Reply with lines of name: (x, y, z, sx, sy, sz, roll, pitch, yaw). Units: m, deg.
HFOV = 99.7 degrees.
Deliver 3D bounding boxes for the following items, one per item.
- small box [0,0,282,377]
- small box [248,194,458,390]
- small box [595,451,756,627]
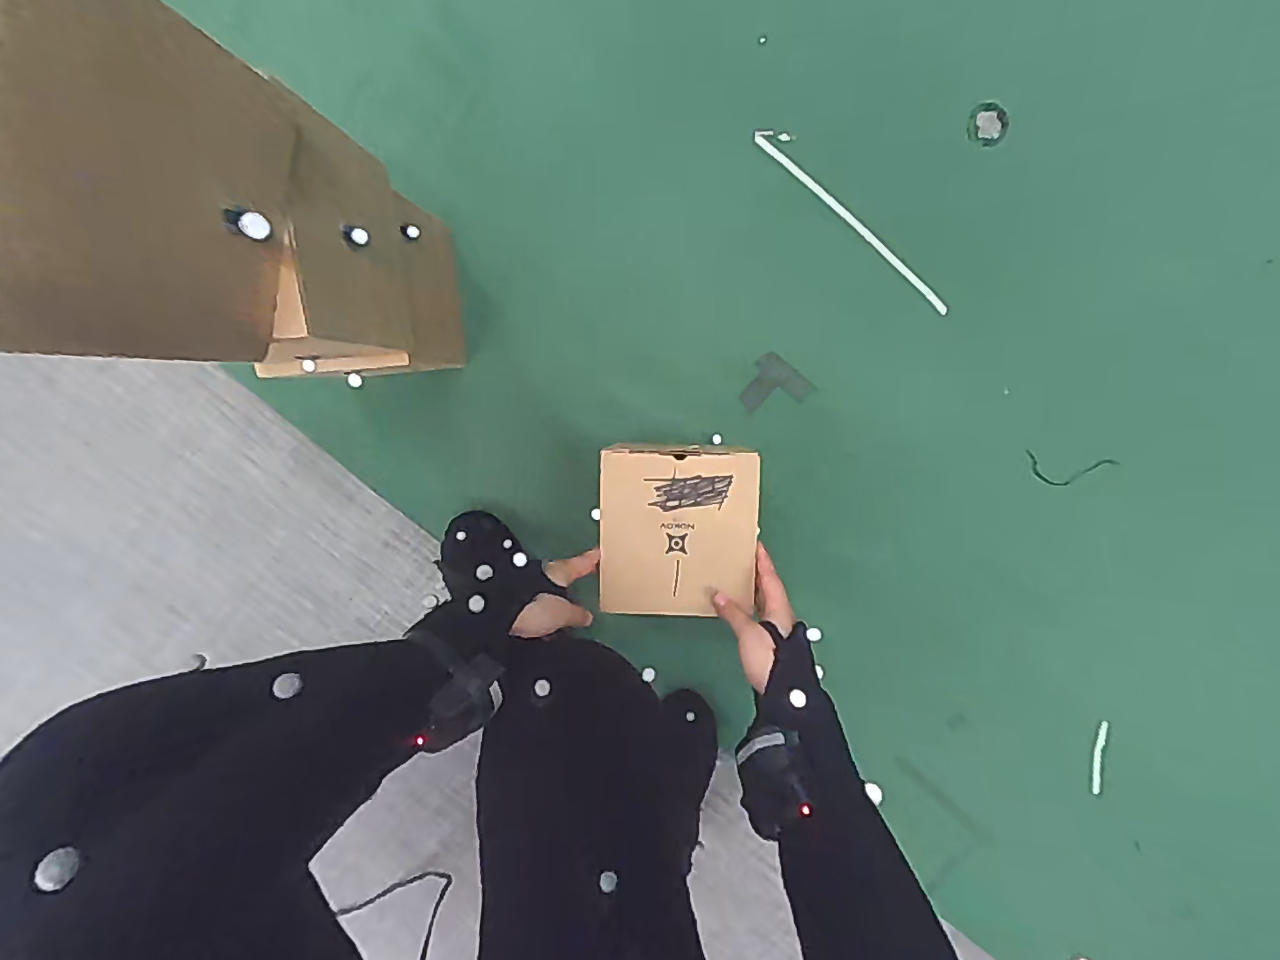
small box: (-0.330, -0.160, 0.288, 0.168, 0.176, 0.179, 14, 100, 0)
small box: (-0.322, -0.198, 0.615, 0.168, 0.176, 0.179, -5, 99, 3)
small box: (0.038, 0.057, 0.639, 0.168, 0.176, 0.179, 1, 97, 3)
